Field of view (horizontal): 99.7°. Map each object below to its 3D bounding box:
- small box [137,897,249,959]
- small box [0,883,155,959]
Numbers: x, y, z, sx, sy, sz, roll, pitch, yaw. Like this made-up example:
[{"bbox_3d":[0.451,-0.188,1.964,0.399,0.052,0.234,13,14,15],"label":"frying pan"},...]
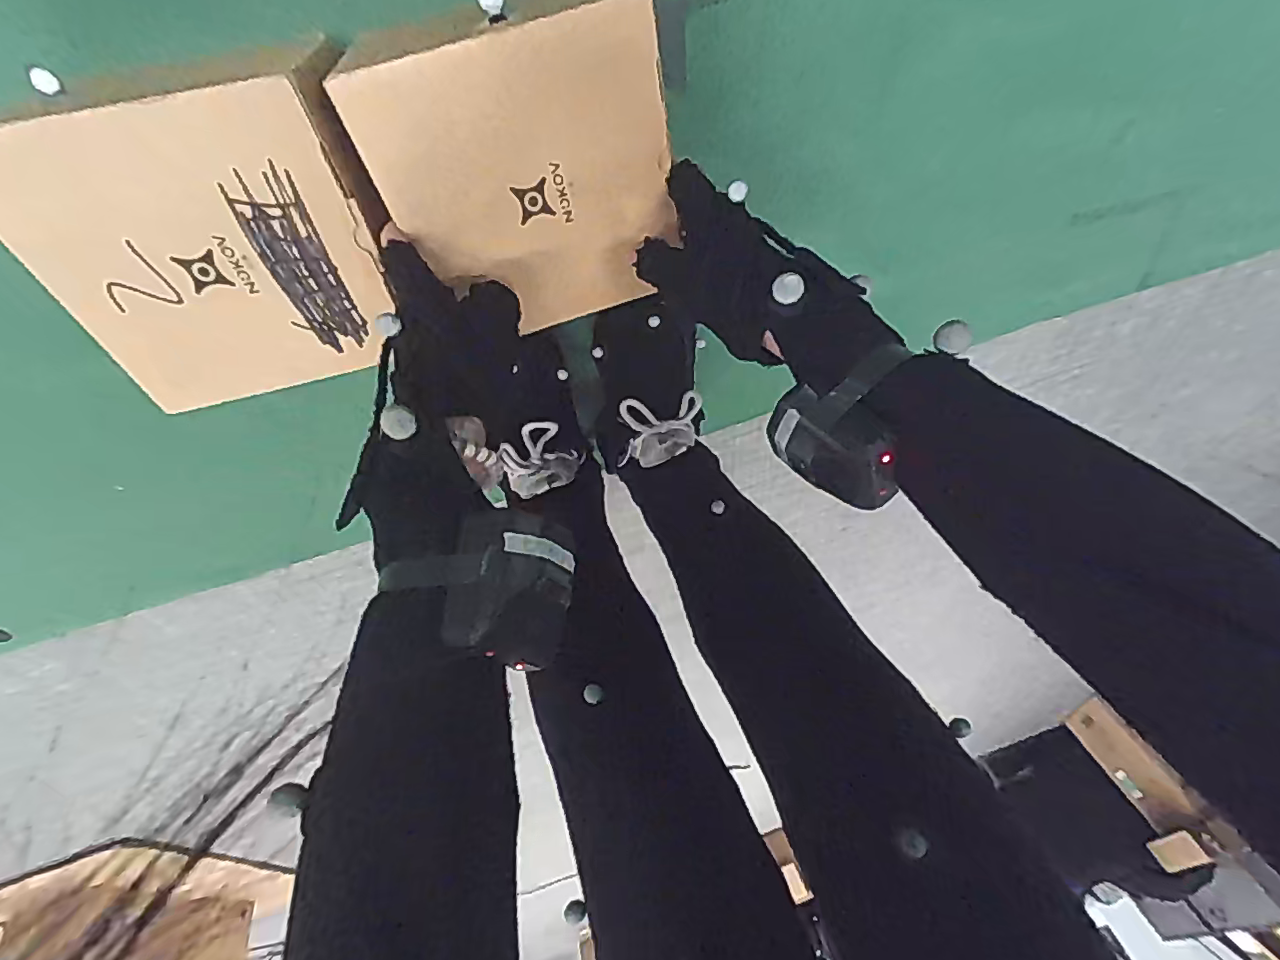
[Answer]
[{"bbox_3d":[-1.088,1.141,1.307,0.179,0.176,0.168,-21,137,-2],"label":"small box"},{"bbox_3d":[-1.157,0.961,1.104,0.179,0.176,0.168,-17,138,-7],"label":"small box"}]
